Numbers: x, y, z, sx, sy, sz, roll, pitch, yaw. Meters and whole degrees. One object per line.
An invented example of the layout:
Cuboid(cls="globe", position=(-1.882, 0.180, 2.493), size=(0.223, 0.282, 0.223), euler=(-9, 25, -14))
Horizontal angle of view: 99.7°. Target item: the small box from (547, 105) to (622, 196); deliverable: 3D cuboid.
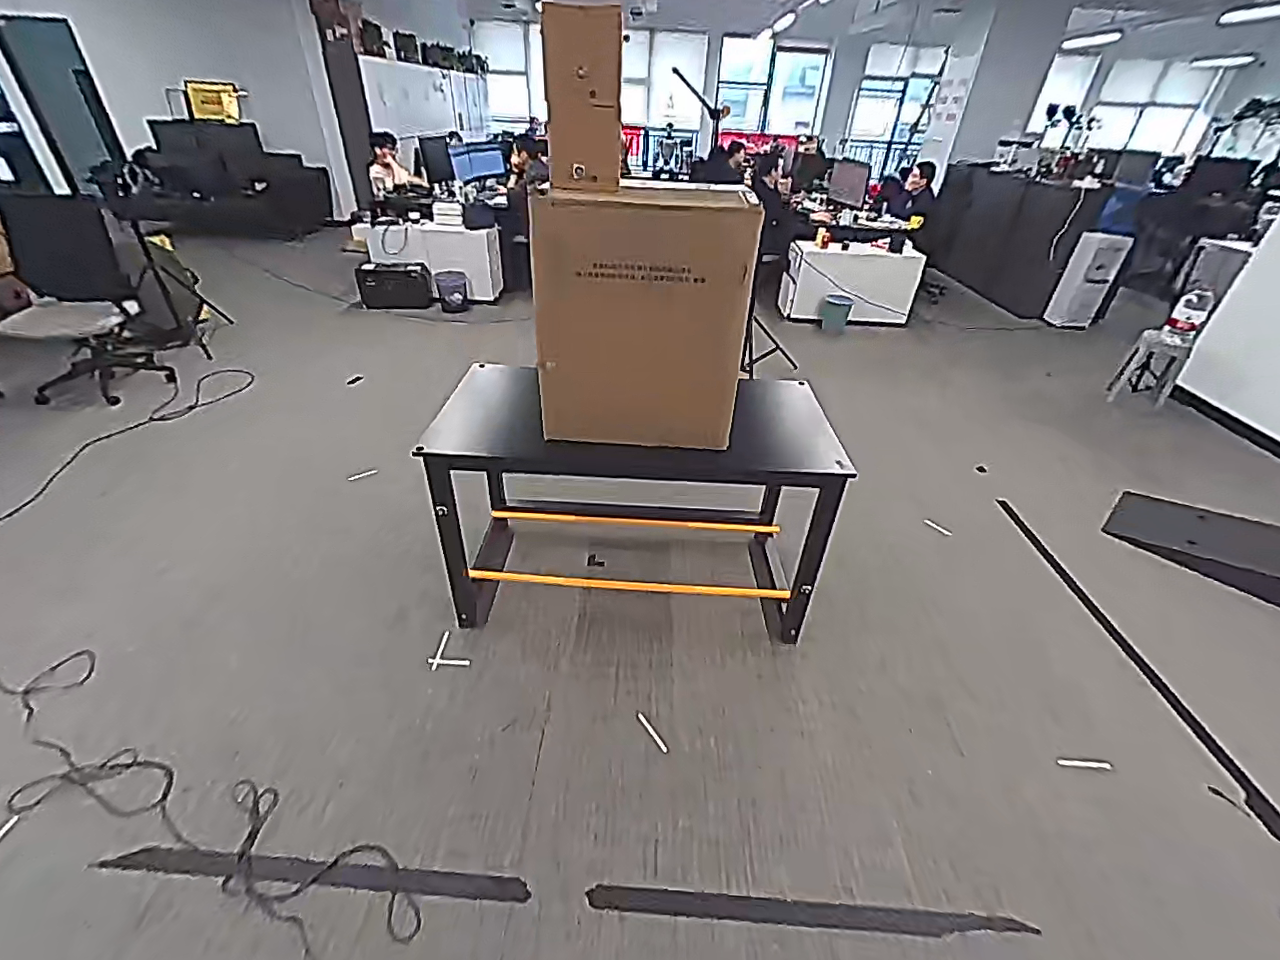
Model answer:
Cuboid(cls="small box", position=(-0.129, -0.787, 1.286), size=(0.168, 0.176, 0.179), euler=(0, 37, -4))

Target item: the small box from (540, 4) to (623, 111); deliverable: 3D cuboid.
Cuboid(cls="small box", position=(-0.123, -0.920, 1.189), size=(0.168, 0.176, 0.179), euler=(1, 35, -2))
